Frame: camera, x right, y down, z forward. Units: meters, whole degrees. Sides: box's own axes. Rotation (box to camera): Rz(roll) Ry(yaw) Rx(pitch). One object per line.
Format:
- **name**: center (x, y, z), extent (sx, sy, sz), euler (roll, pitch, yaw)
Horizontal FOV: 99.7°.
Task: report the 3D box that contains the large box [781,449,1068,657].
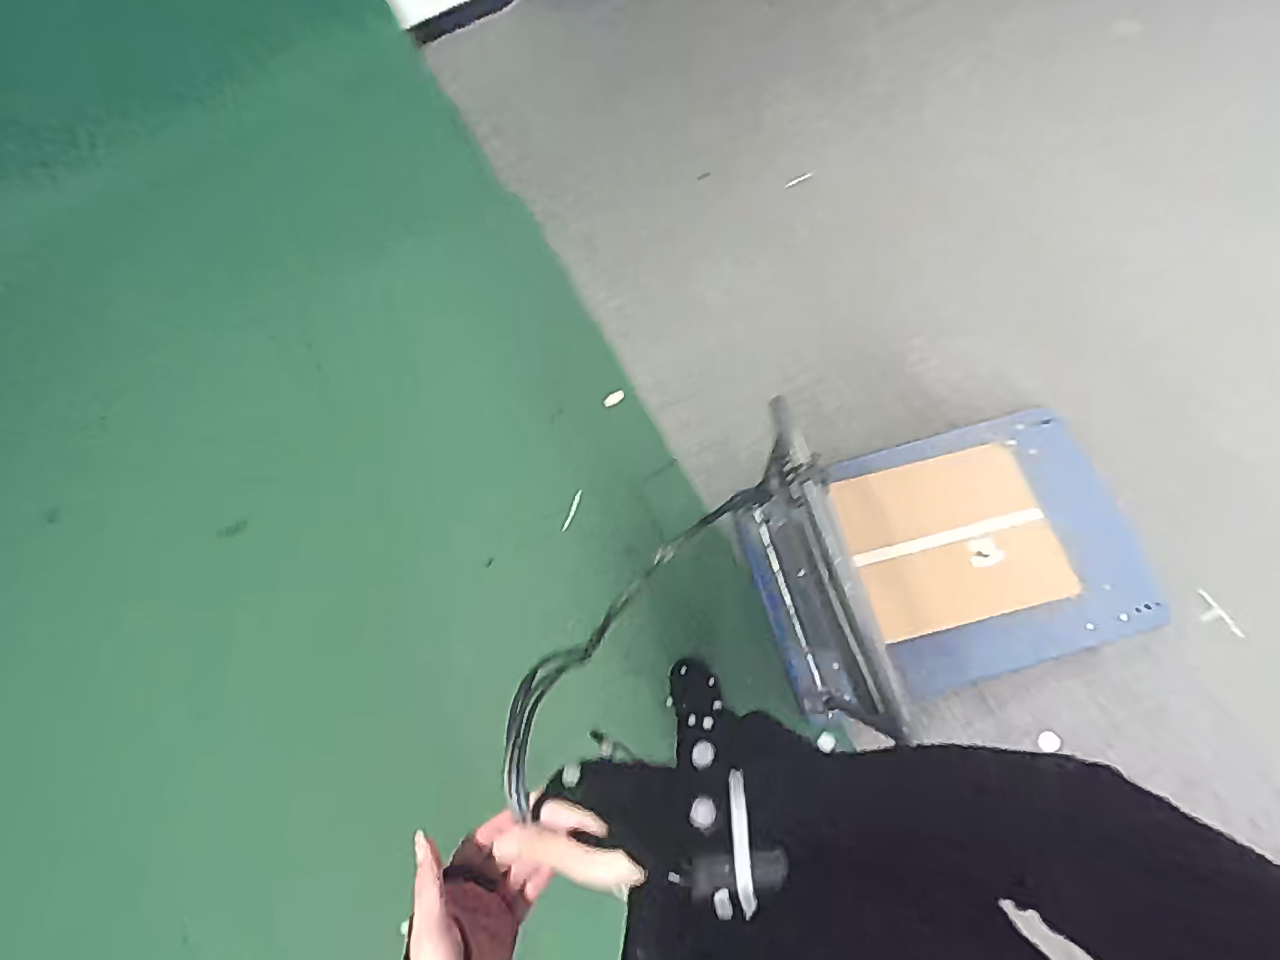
- **large box**: center (0.569, 0.176, 1.176), extent (0.408, 0.320, 0.320), euler (-14, 71, -1)
